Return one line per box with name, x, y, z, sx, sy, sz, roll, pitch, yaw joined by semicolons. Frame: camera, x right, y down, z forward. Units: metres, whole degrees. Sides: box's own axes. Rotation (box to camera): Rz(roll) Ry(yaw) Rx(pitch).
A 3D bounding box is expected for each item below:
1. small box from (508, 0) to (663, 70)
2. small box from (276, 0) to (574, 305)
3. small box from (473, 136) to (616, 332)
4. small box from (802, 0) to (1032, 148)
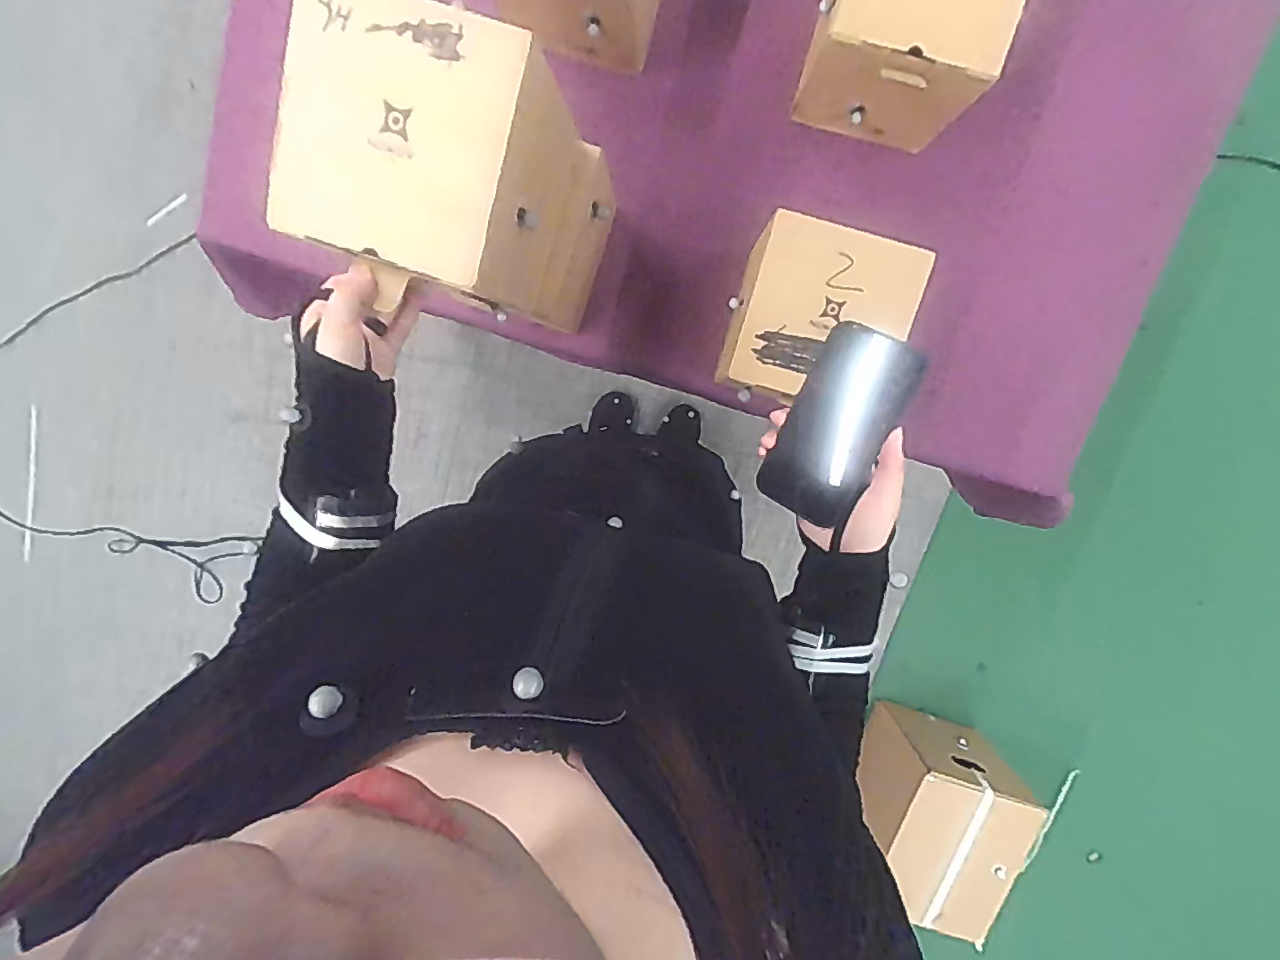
small box;-0.051;-0.583;0.567;0.168;0.176;0.179;17;101;-1
small box;-0.165;-0.259;0.460;0.168;0.176;0.179;17;104;0
small box;-0.132;-0.287;0.624;0.168;0.176;0.179;20;100;0
small box;0.287;-0.491;0.566;0.168;0.176;0.179;15;101;1
